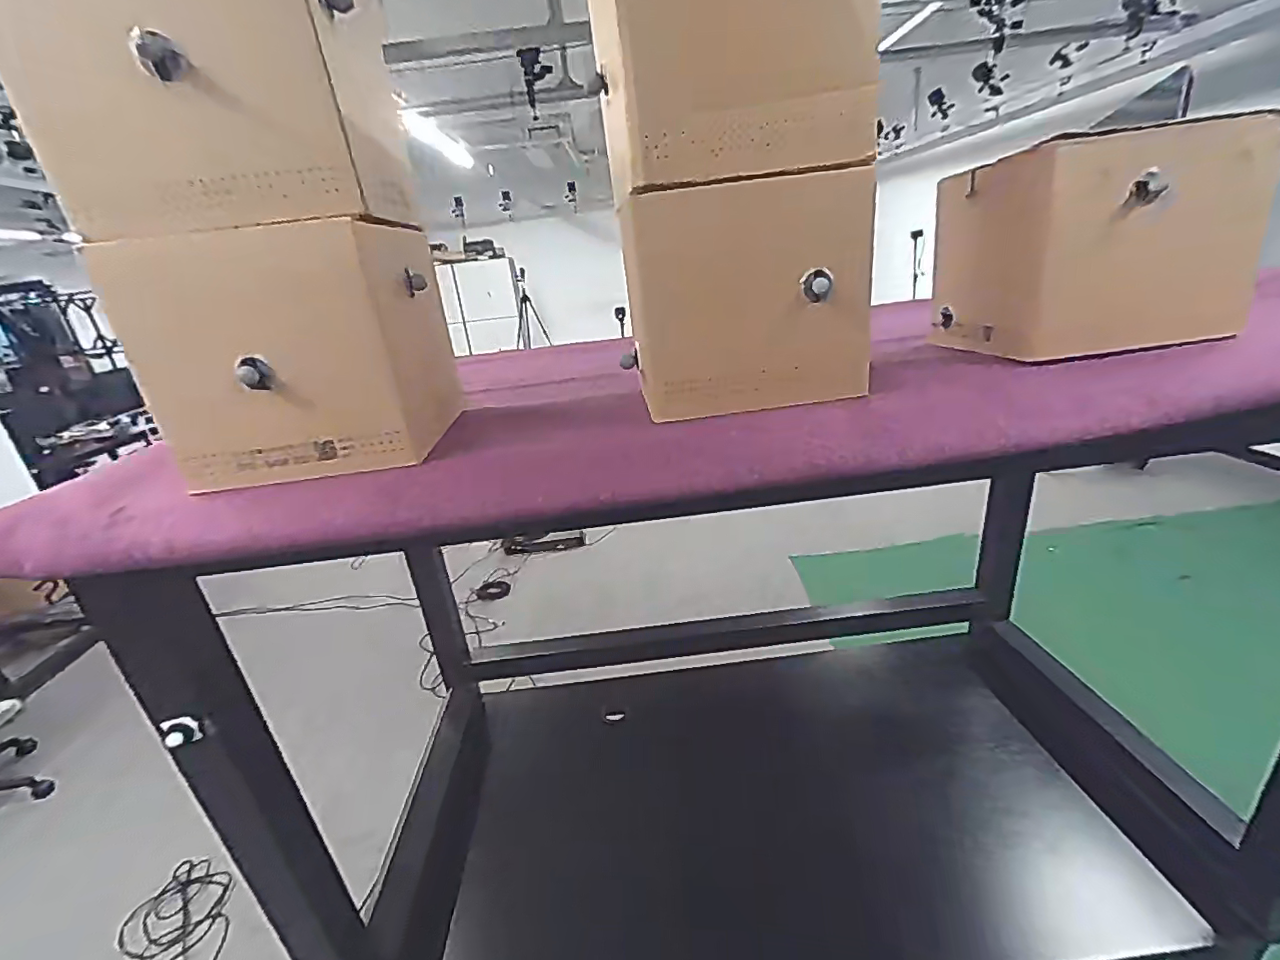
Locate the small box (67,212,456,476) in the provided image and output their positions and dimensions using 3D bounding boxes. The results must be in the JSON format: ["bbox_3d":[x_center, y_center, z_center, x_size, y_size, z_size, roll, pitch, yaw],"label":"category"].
[{"bbox_3d":[-0.260,-0.108,0.431,0.168,0.176,0.179,-7,23,-3],"label":"small box"}]

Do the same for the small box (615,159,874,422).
[{"bbox_3d":[0.077,-0.160,0.467,0.179,0.176,0.168,-9,22,-2],"label":"small box"}]

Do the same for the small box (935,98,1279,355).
[{"bbox_3d":[0.395,-0.214,0.494,0.179,0.176,0.168,-7,21,1],"label":"small box"}]

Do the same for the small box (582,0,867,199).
[{"bbox_3d":[0.056,-0.310,0.408,0.179,0.176,0.168,-8,22,-4],"label":"small box"}]
